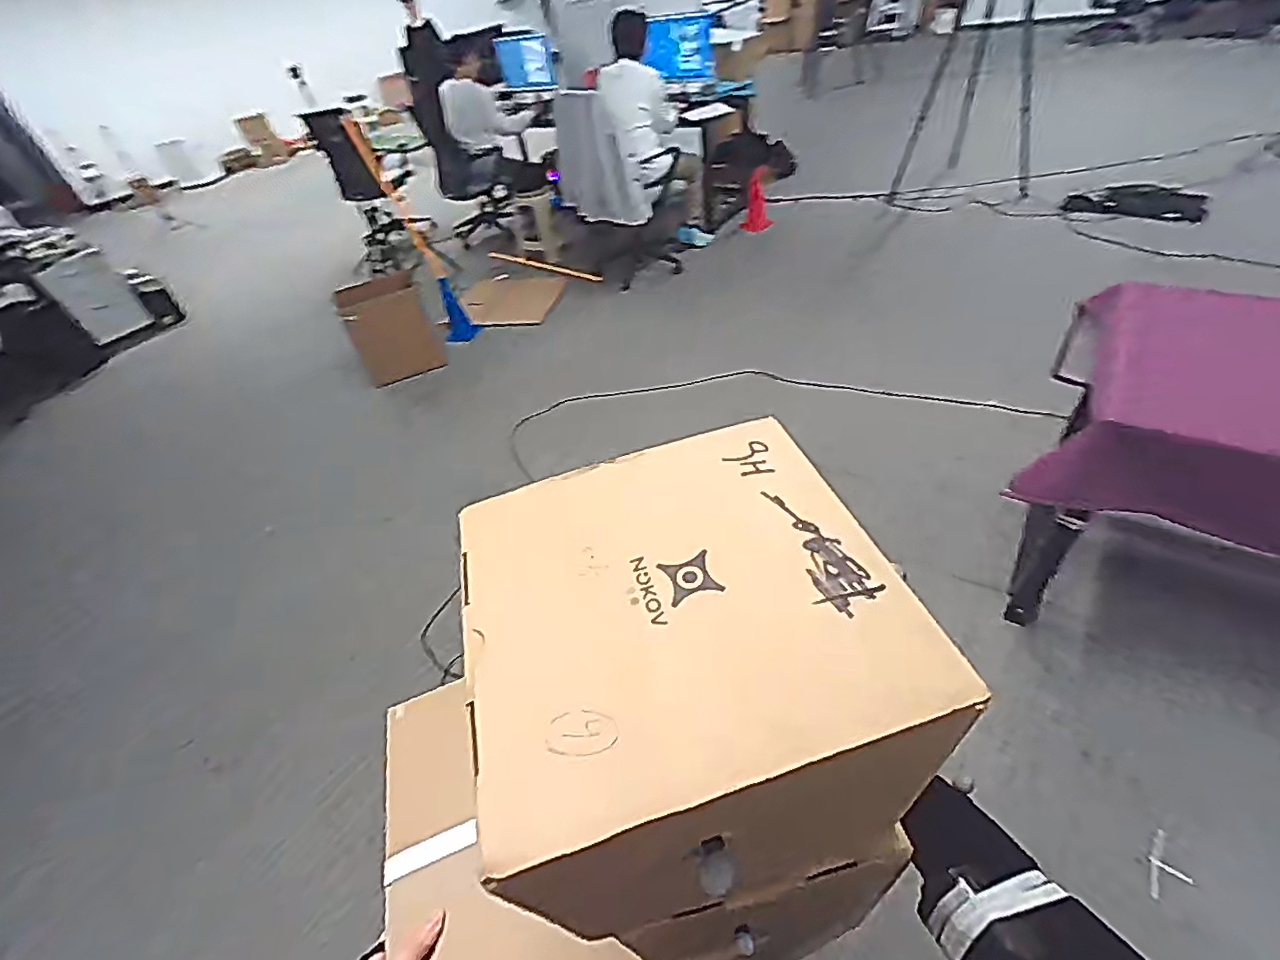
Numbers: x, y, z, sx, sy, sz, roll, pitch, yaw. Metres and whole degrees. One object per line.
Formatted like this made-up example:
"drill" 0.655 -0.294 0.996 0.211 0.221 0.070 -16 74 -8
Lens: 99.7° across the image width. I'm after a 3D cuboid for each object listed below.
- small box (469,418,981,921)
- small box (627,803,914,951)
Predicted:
"small box" 0.027 0.100 0.285 0.179 0.176 0.168 -17 46 -4
"small box" 0.063 0.213 0.401 0.168 0.176 0.179 -13 45 -2
